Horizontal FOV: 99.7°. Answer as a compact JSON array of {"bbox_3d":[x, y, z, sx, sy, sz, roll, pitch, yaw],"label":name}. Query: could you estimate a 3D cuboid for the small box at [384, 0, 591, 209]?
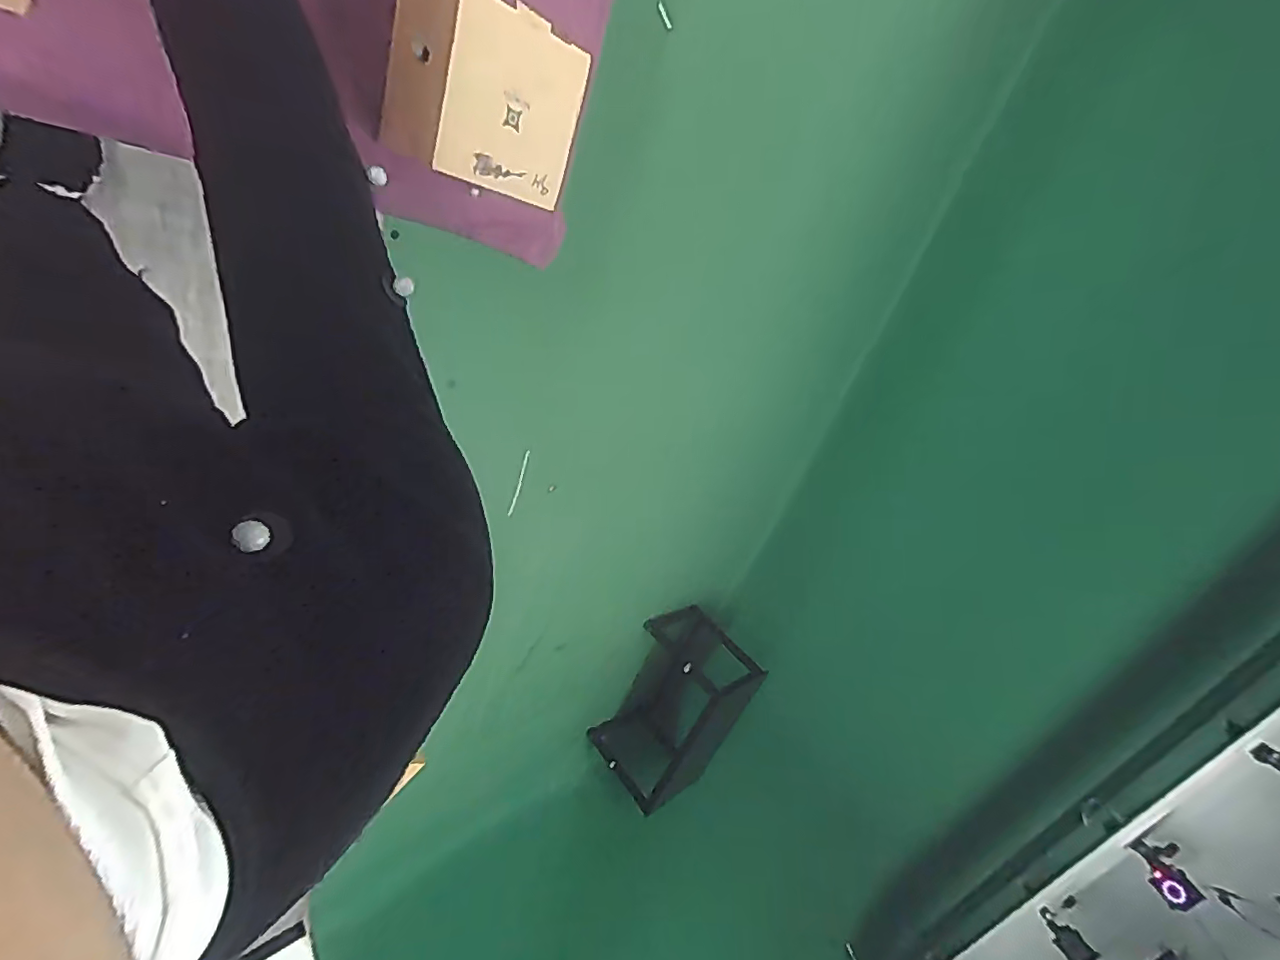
[{"bbox_3d":[-0.191,-0.461,0.657,0.168,0.176,0.179,-5,124,-45],"label":"small box"}]
